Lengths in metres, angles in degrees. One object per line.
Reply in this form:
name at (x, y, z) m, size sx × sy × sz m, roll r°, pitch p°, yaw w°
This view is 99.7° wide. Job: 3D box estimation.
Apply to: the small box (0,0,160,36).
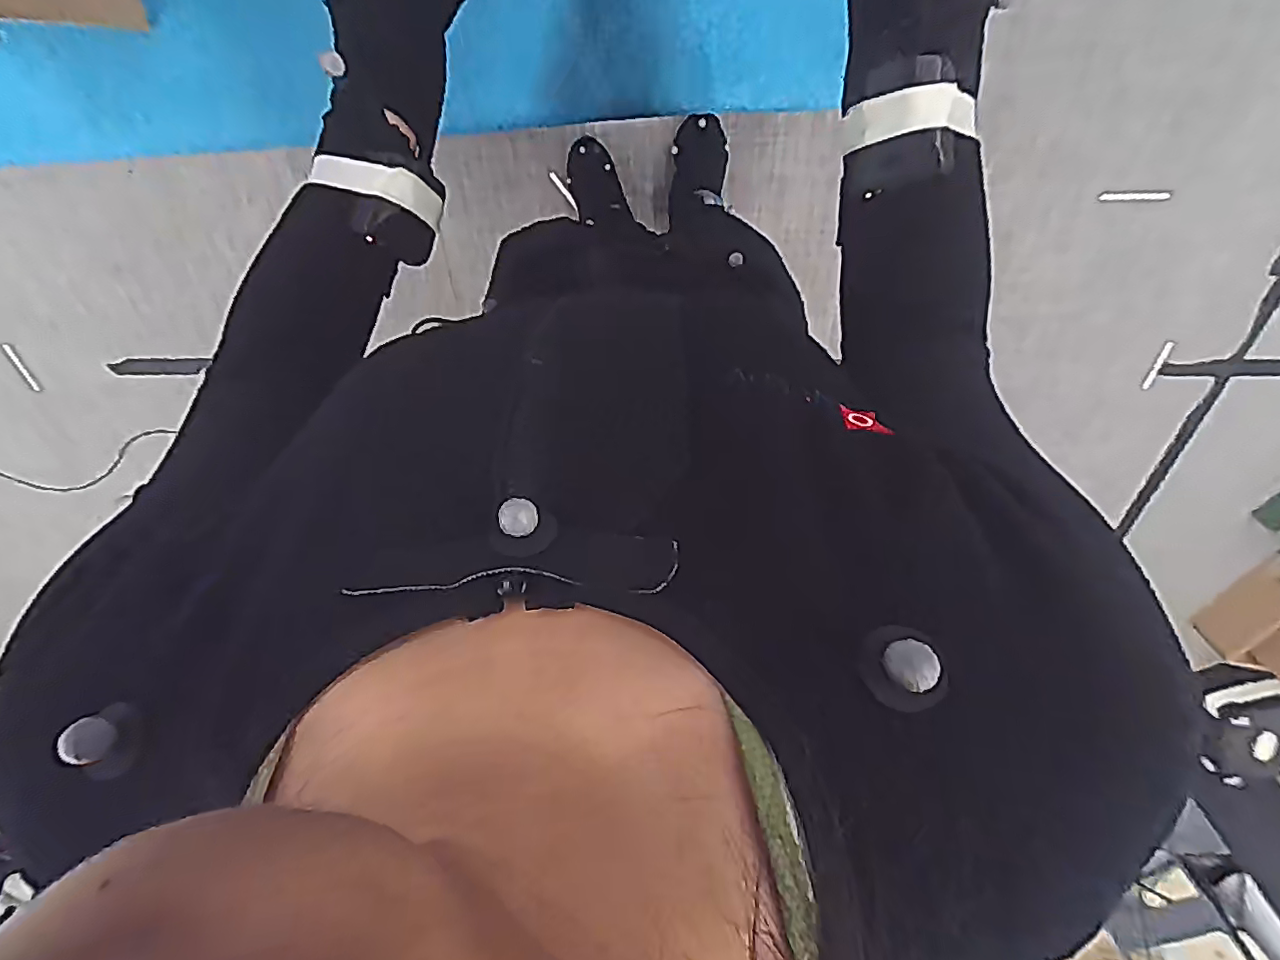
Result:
small box at (-0.528, -0.445, 0.392) m, size 0.168 × 0.176 × 0.179 m, roll 3°, pitch 127°, yaw -1°
